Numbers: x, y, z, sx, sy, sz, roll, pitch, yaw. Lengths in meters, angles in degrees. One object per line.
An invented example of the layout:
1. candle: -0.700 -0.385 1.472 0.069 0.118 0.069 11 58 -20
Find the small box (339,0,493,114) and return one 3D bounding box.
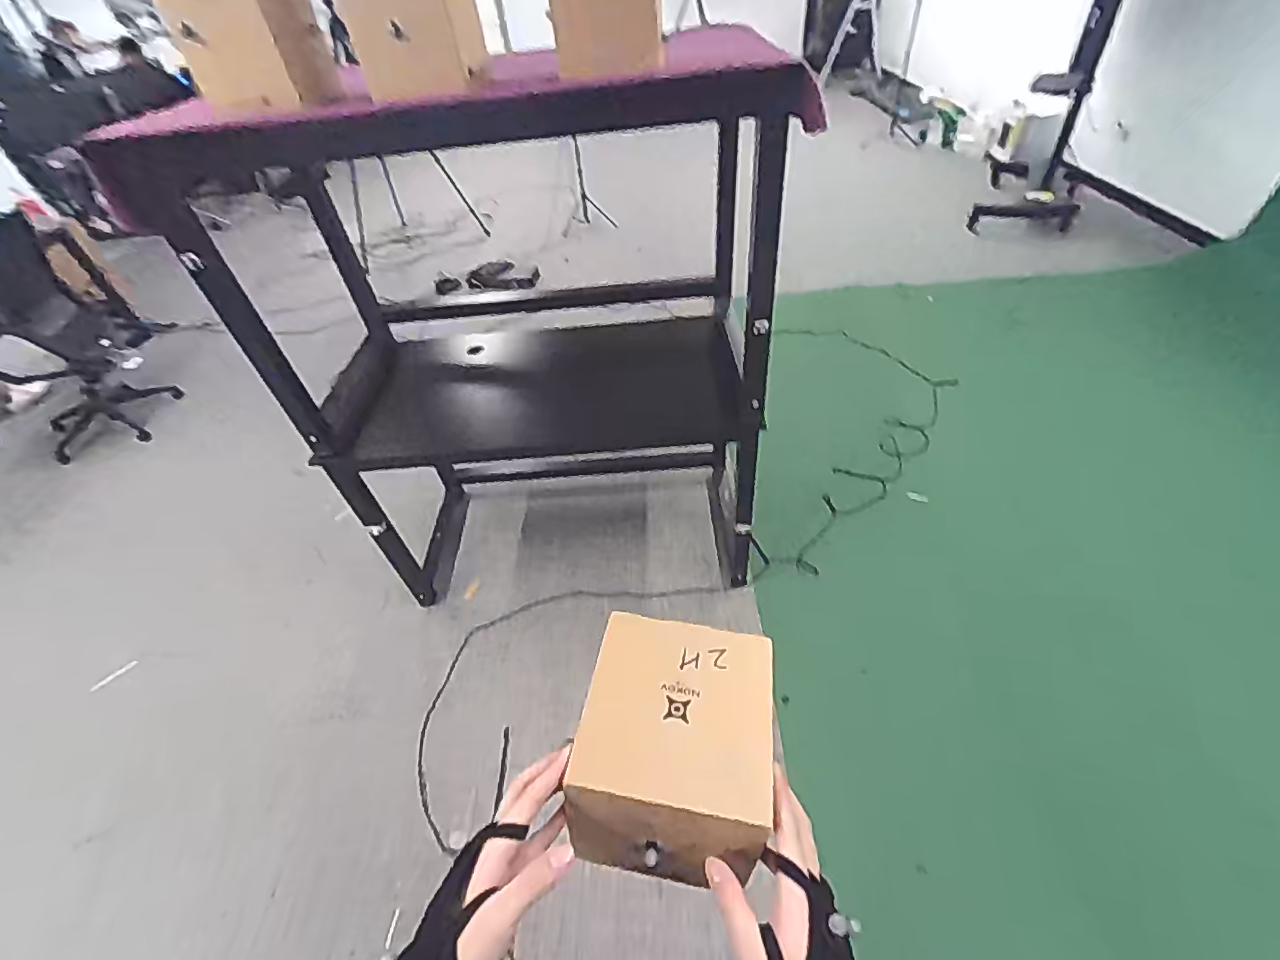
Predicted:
1. small box: -0.375 -0.760 0.944 0.179 0.176 0.168 -2 44 7

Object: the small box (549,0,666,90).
1. small box: -0.053 -0.791 0.932 0.179 0.176 0.168 -1 44 7

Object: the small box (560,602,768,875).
1. small box: 0.030 0.253 0.536 0.168 0.176 0.179 8 38 8
